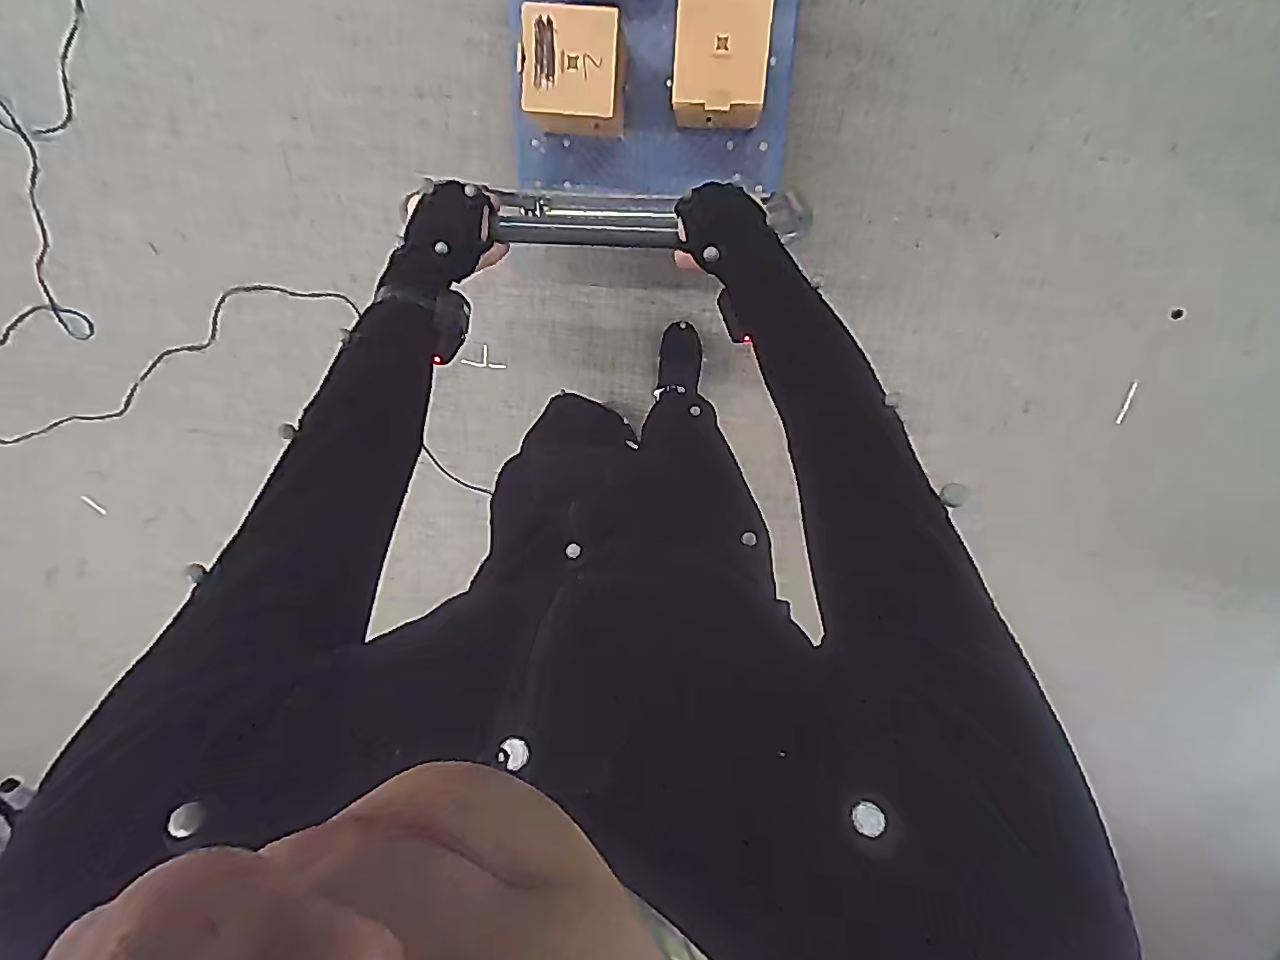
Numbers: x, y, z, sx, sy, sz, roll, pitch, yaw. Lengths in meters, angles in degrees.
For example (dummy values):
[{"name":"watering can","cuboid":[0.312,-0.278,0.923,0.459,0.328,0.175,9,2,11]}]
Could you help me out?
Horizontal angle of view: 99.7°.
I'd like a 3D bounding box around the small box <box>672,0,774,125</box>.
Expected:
[{"name":"small box","cuboid":[0.149,-0.795,1.020,0.168,0.176,0.179,4,113,4]}]
